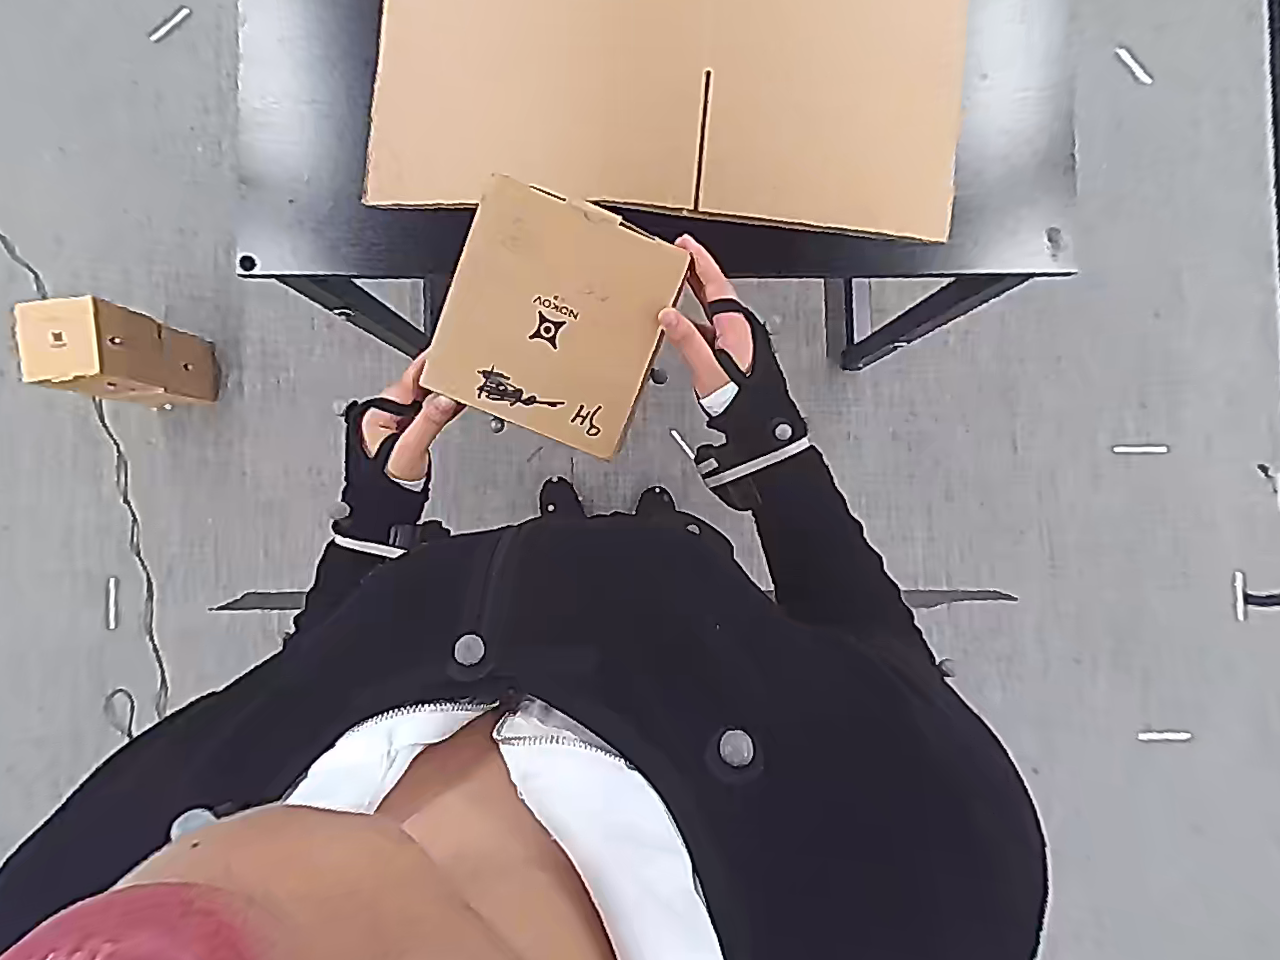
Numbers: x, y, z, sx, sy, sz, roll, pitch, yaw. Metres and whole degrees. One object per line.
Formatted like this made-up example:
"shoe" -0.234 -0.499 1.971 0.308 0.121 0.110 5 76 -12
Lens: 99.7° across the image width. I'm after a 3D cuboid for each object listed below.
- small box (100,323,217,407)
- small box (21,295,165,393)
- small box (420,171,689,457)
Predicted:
"small box" -1.248 -0.294 1.408 0.168 0.176 0.179 -4 90 -1
"small box" -1.248 -0.303 1.246 0.168 0.176 0.179 -7 88 -2
"small box" -0.068 -0.135 0.502 0.168 0.176 0.179 22 95 -1
